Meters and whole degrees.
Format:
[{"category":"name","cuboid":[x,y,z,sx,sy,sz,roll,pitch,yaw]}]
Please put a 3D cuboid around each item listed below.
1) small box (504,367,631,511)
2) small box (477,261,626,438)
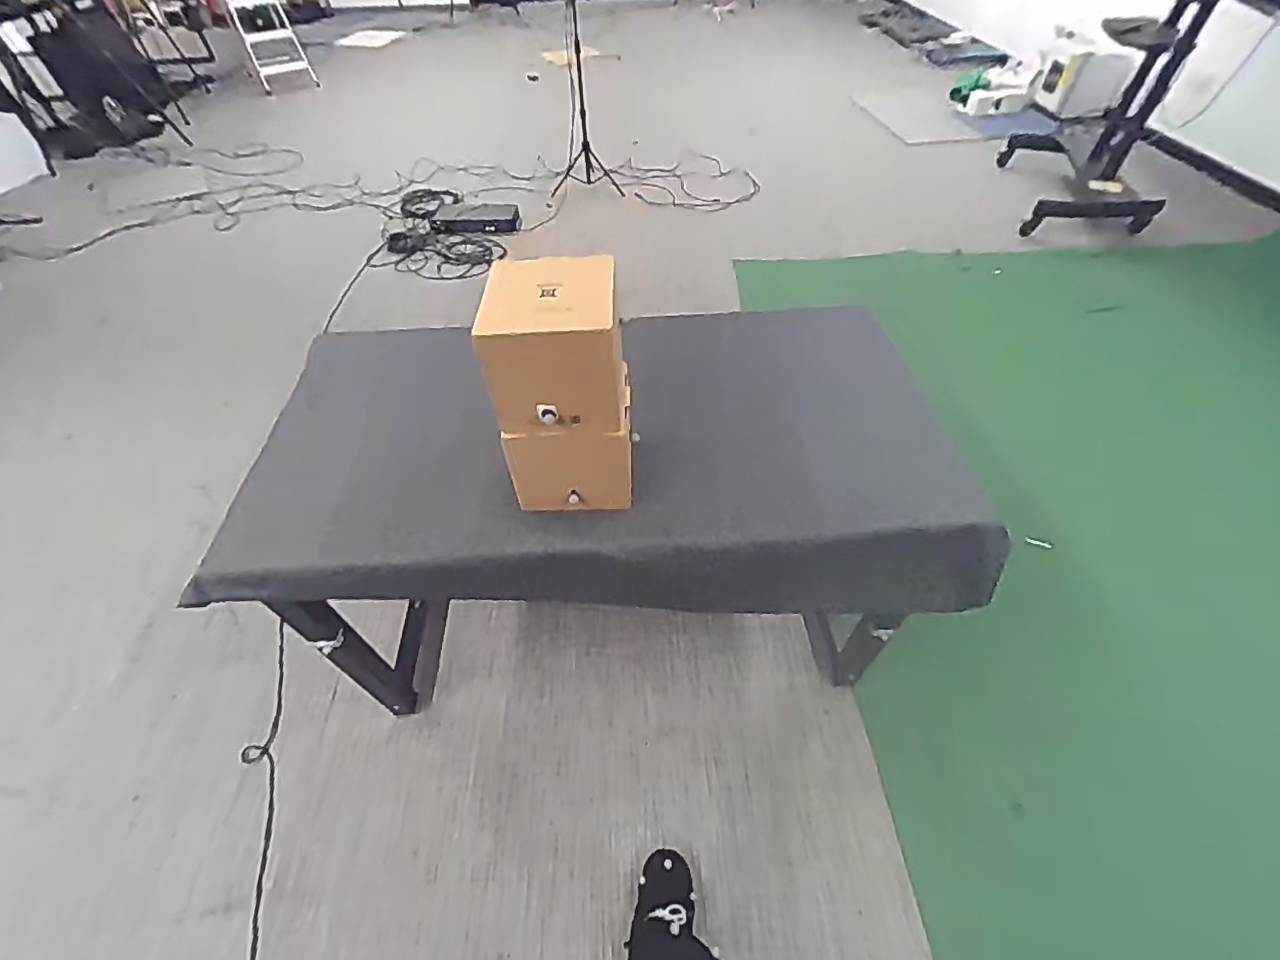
[{"category":"small box","cuboid":[-0.102,-0.063,0.860,0.179,0.176,0.168,-1,49,0]},{"category":"small box","cuboid":[-0.108,-0.177,0.744,0.168,0.176,0.179,-3,50,1]}]
